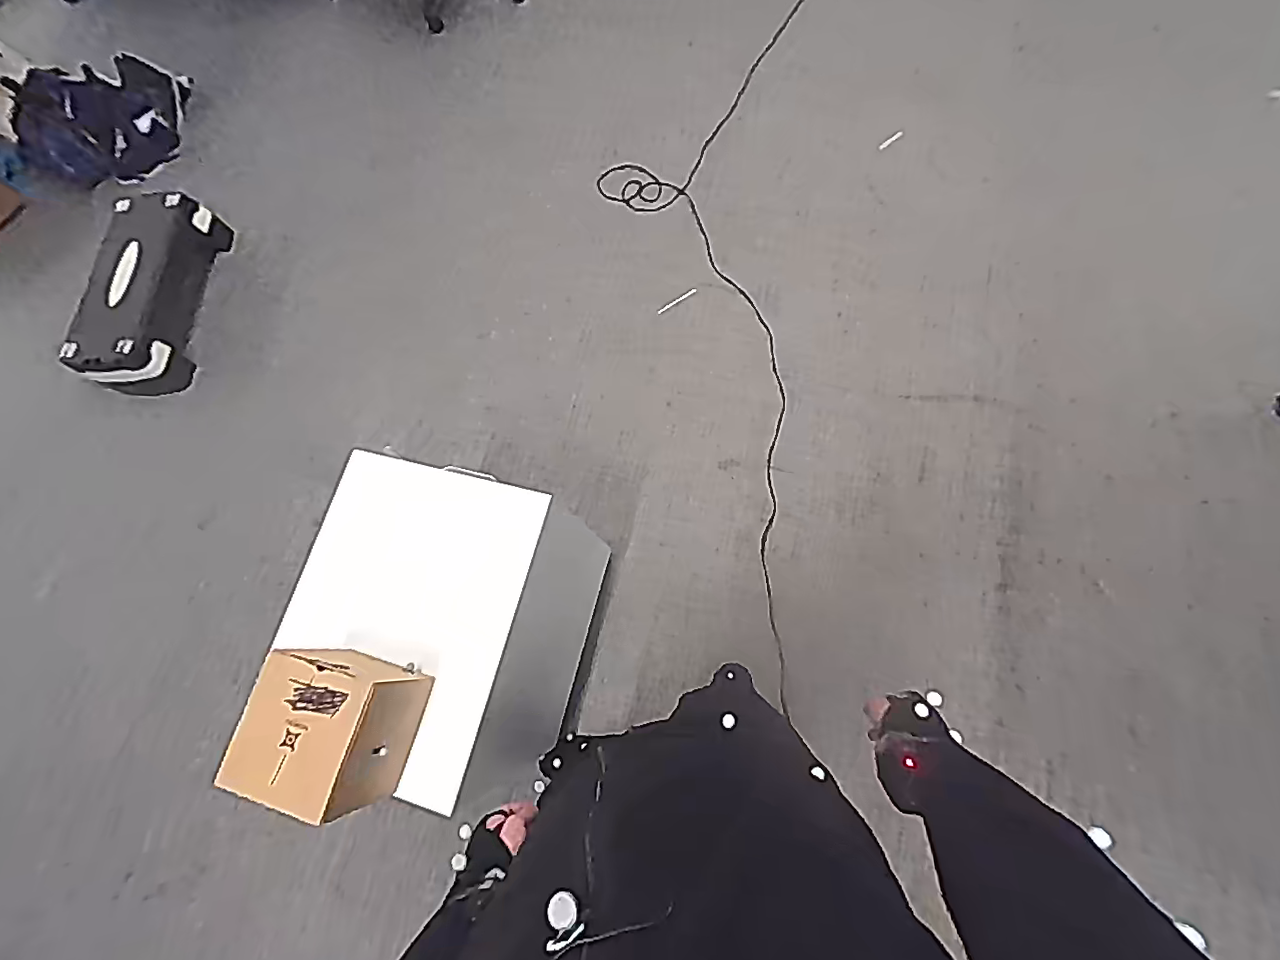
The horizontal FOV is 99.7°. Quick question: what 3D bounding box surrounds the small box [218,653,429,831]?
[{"bbox_3d":[-0.434,0.357,0.776,0.168,0.176,0.179,12,75,12],"label":"small box"}]
